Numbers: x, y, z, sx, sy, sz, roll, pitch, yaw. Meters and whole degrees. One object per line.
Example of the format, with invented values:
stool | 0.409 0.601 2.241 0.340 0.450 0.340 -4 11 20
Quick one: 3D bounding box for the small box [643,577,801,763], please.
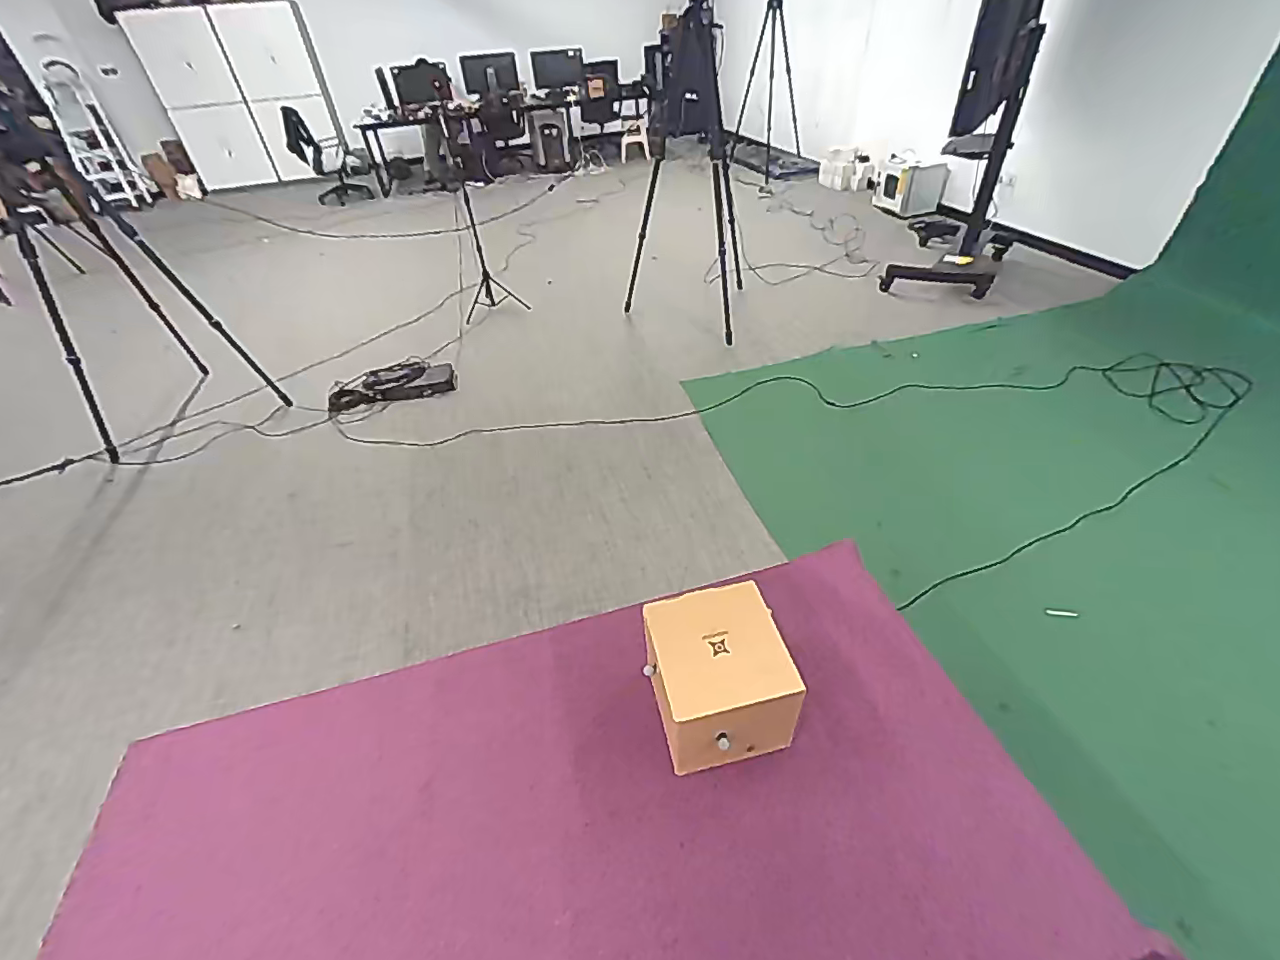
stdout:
small box | 0.107 0.270 0.755 0.168 0.176 0.179 -12 41 -6
